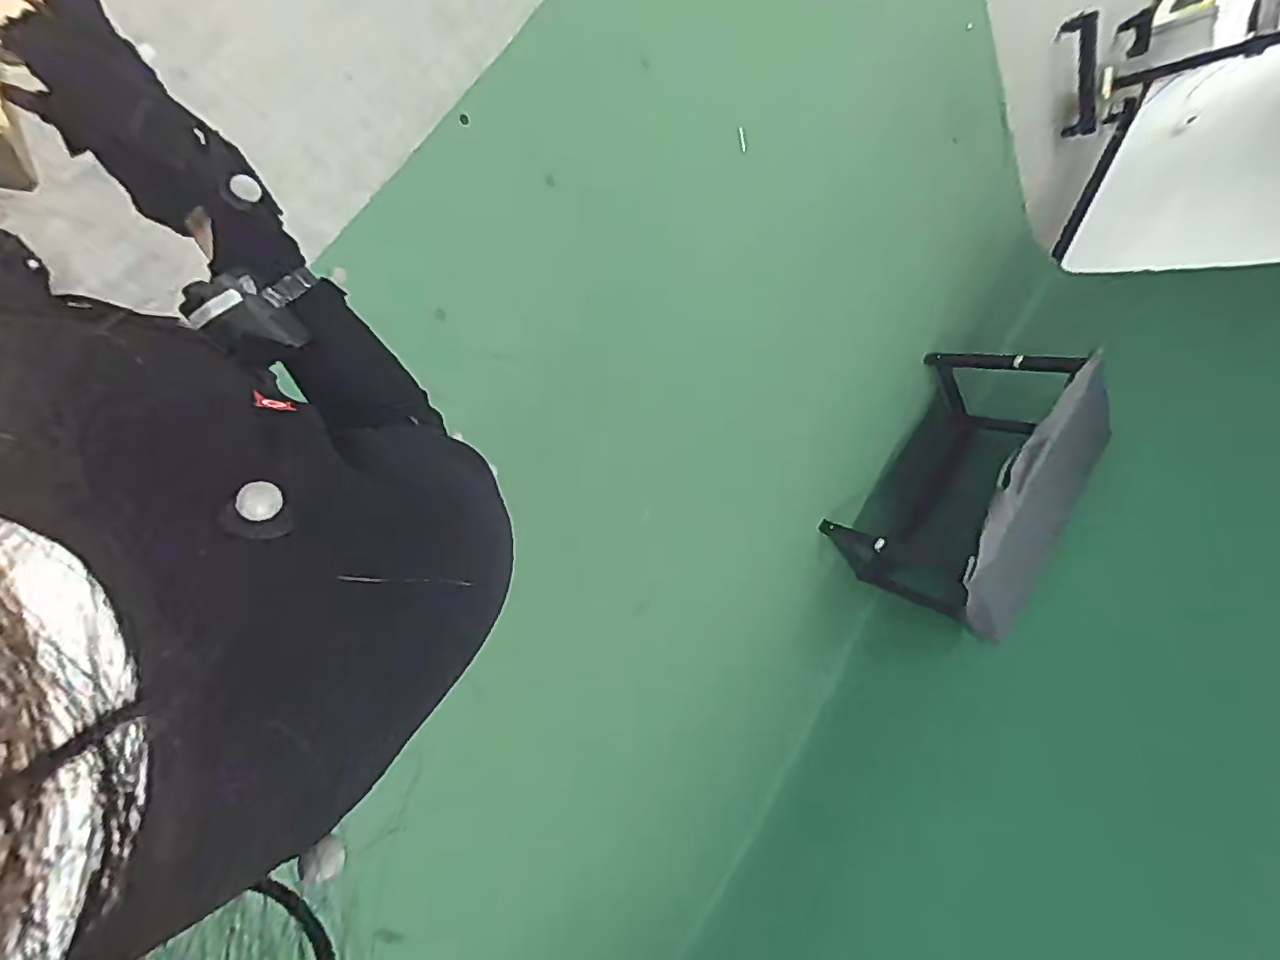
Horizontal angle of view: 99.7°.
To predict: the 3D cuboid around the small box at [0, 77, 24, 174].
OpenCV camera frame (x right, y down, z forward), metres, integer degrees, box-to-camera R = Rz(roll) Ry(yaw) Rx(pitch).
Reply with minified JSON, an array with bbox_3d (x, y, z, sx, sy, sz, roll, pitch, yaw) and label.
[{"bbox_3d":[-0.443,-0.256,0.249,0.179,0.176,0.168,-17,112,-42],"label":"small box"}]
